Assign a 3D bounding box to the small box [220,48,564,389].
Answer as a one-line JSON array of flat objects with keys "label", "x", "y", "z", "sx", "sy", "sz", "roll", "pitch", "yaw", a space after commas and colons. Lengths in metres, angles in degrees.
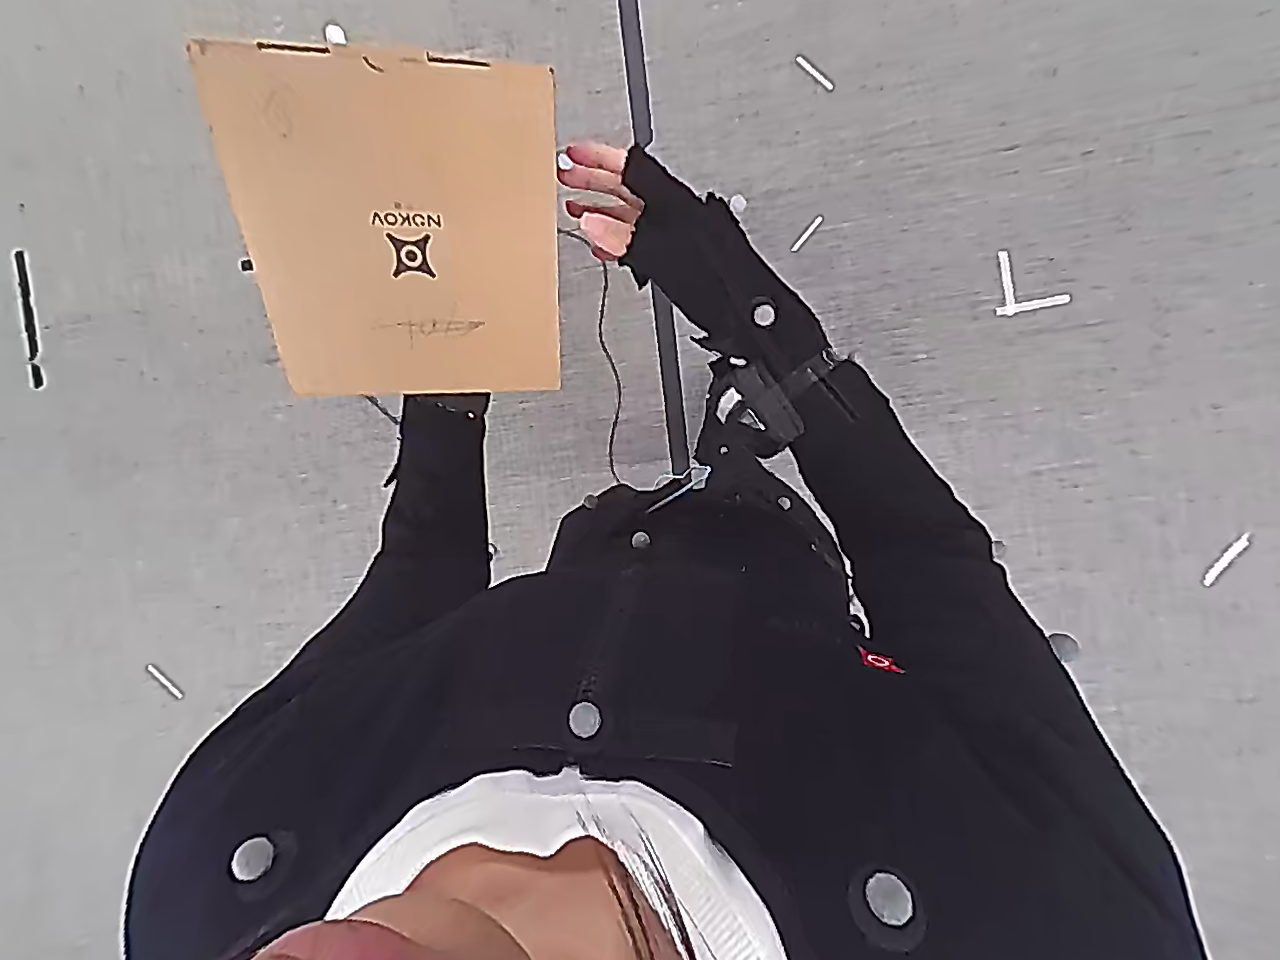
[{"label": "small box", "x": -0.141, "y": -0.177, "z": 0.382, "sx": 0.168, "sy": 0.176, "sz": 0.179, "roll": -2, "pitch": 122, "yaw": -9}]
